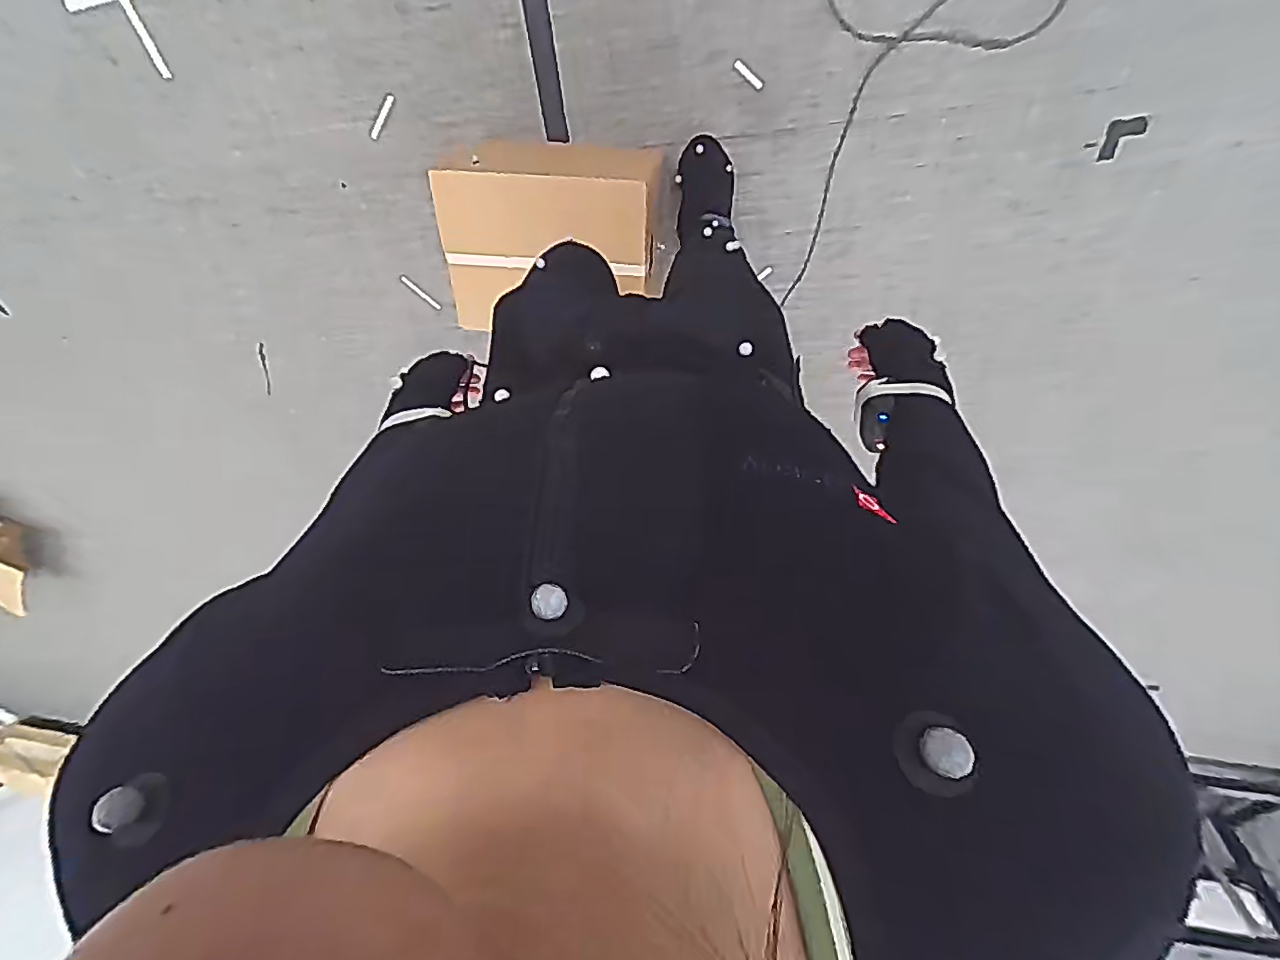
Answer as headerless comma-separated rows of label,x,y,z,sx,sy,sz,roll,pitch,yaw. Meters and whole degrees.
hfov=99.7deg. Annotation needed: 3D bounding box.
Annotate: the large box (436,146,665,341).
large box,-0.162,-0.522,1.175,0.408,0.320,0.320,6,132,5
